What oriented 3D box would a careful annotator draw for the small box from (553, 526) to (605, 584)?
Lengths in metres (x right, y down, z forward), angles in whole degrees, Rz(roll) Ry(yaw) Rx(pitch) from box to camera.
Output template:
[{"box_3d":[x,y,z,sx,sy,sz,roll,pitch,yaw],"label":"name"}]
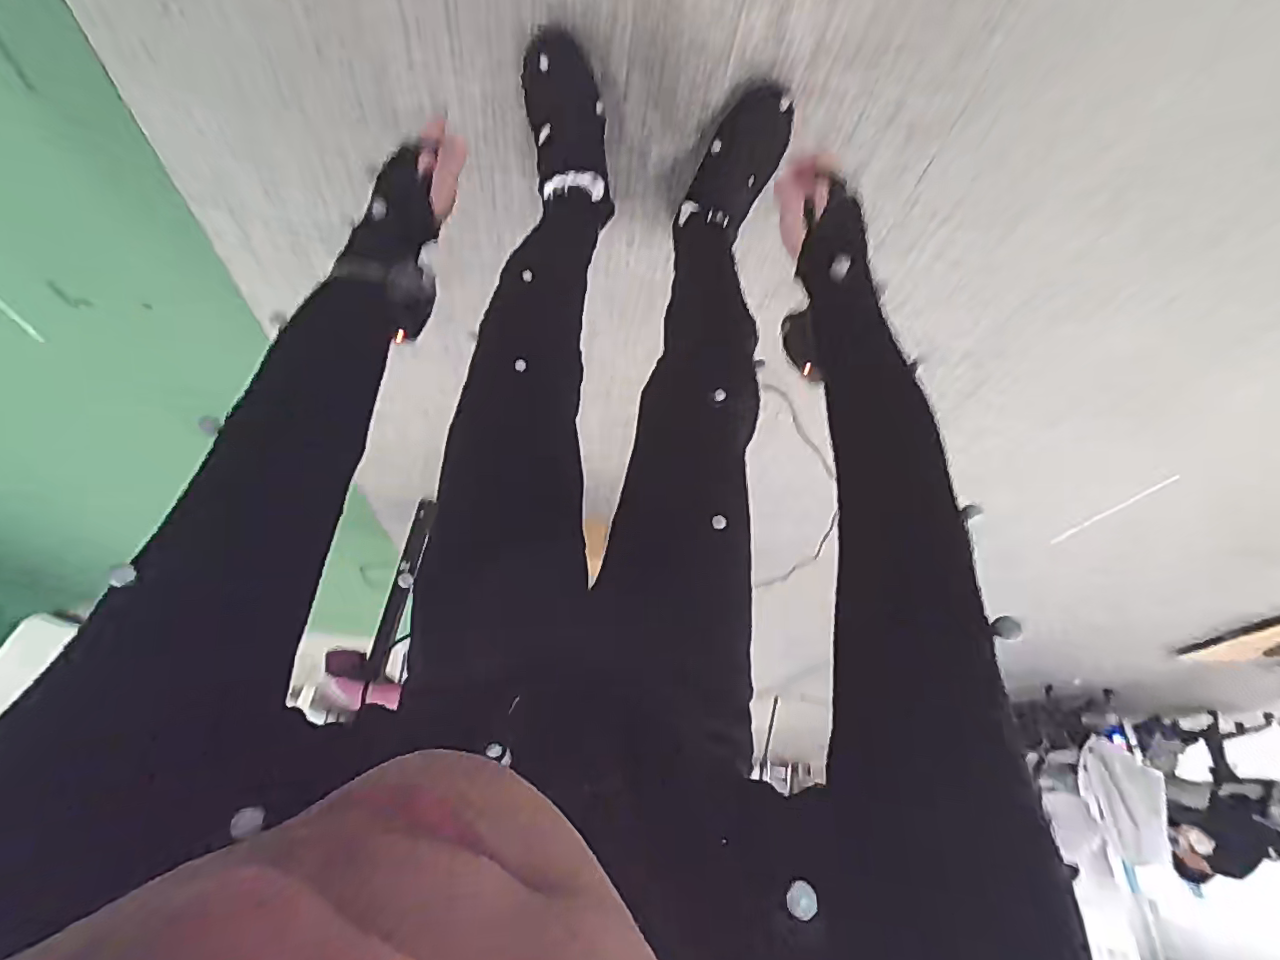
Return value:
[{"box_3d":[-0.232,0.291,2.108,0.179,0.176,0.168,4,149,1],"label":"small box"}]
